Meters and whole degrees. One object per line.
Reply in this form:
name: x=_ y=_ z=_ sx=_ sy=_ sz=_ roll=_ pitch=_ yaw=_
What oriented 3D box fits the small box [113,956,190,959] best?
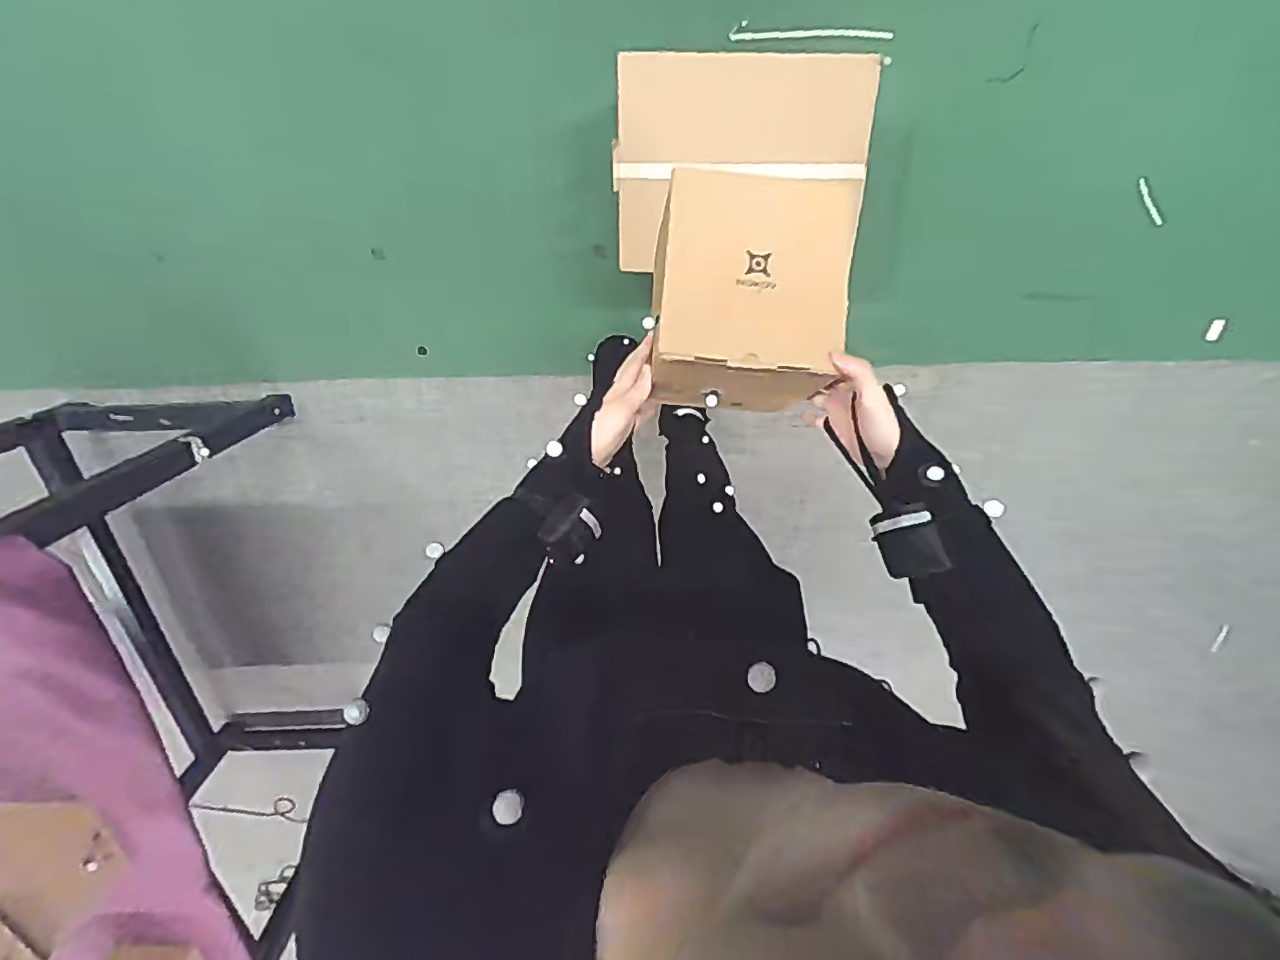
small box: x=-0.966 y=1.038 z=1.017 sx=0.179 sy=0.176 sz=0.168 roll=-2 pitch=115 yaw=3

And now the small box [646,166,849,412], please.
small box: x=0.096 y=-0.178 z=0.553 sx=0.168 sy=0.176 sz=0.179 roll=4 pitch=85 yaw=-2

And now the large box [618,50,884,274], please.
large box: x=0.167 y=-0.559 z=1.003 sx=0.408 sy=0.320 sz=0.320 roll=0 pitch=115 yaw=0

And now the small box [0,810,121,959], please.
small box: x=-0.987 y=0.642 z=0.839 sx=0.179 sy=0.176 sz=0.168 roll=0 pitch=115 yaw=0
